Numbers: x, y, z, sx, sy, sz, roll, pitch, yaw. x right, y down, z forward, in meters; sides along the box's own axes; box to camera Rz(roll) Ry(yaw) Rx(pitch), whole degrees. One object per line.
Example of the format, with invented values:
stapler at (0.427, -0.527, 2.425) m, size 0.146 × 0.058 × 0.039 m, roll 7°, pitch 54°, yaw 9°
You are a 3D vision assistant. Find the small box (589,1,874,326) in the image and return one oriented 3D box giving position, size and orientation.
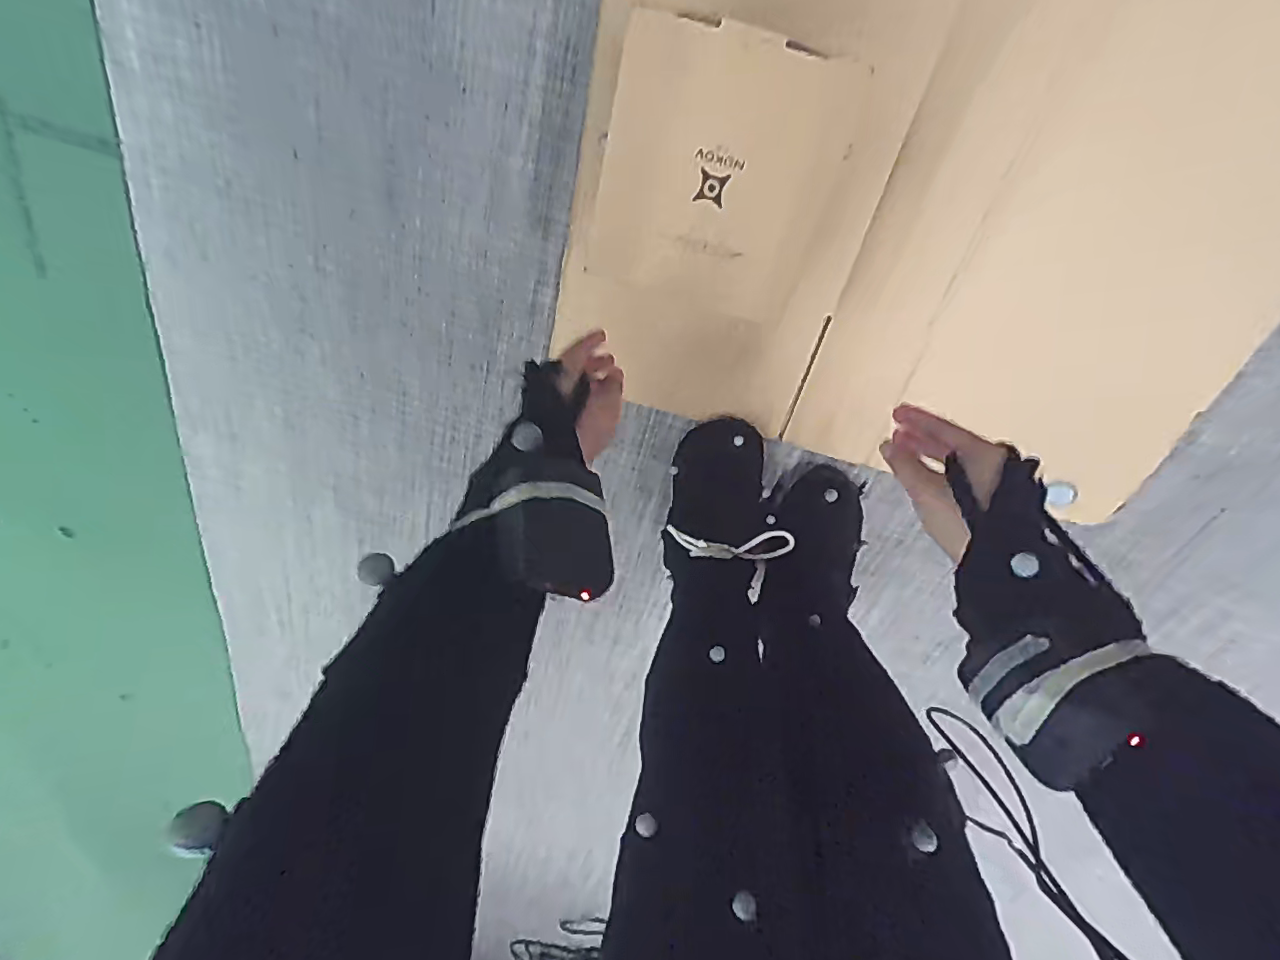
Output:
small box at (0.068, -0.257, 0.462) m, size 0.168 × 0.176 × 0.179 m, roll 17°, pitch 122°, yaw 2°
